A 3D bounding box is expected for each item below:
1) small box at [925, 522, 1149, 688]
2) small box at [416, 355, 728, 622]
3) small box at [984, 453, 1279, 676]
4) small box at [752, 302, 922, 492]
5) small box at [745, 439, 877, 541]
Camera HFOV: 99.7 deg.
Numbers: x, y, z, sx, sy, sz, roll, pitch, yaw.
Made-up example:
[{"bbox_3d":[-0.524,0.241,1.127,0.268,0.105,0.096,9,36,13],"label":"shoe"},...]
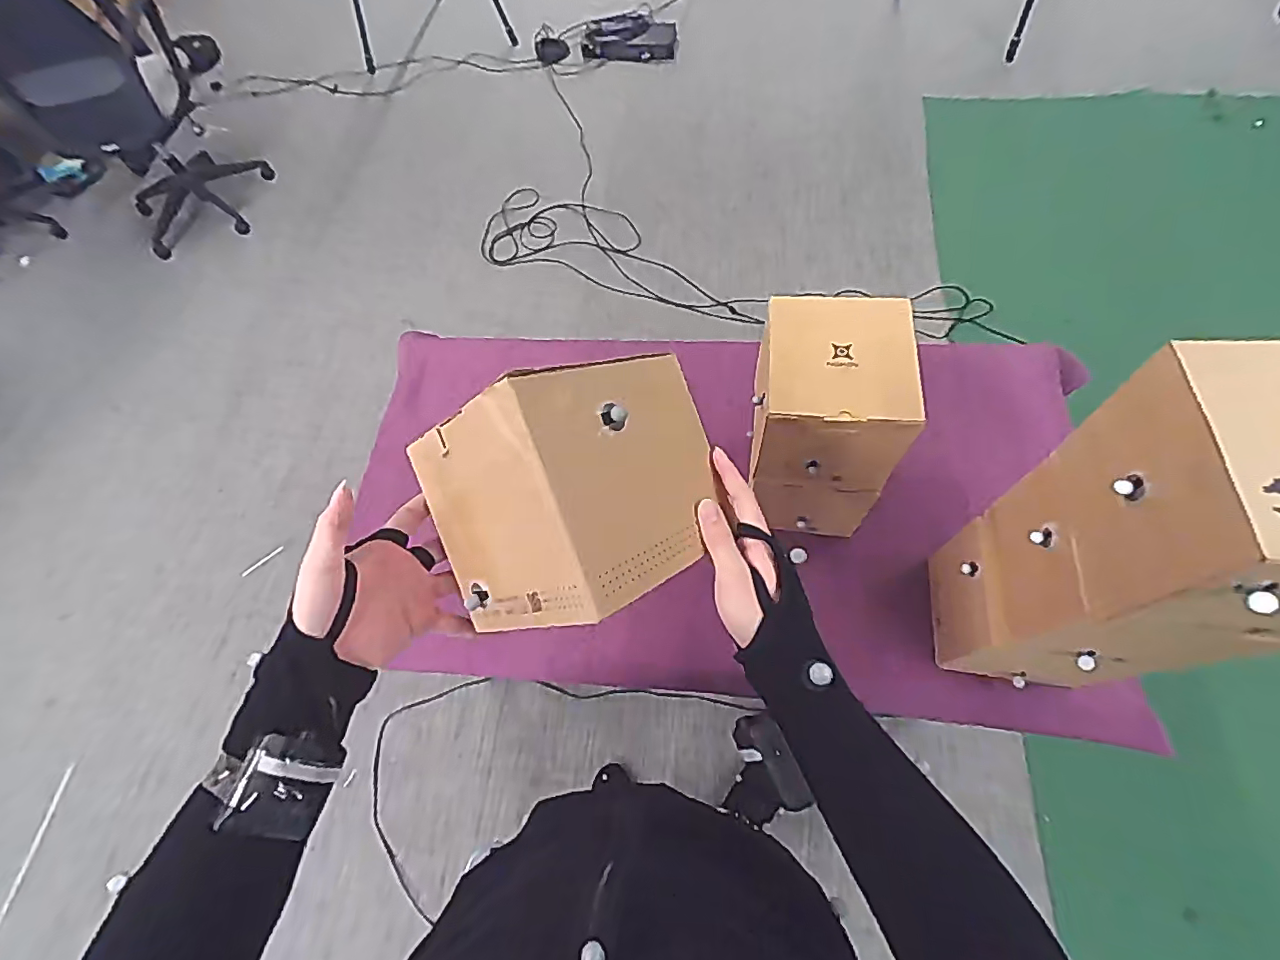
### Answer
[{"bbox_3d":[0.502,0.171,0.714,0.179,0.176,0.168,7,64,10],"label":"small box"},{"bbox_3d":[-0.051,0.012,0.455,0.179,0.168,0.176,-20,91,-47],"label":"small box"},{"bbox_3d":[0.490,0.094,0.569,0.168,0.176,0.179,6,64,10],"label":"small box"},{"bbox_3d":[0.236,-0.101,0.692,0.168,0.176,0.179,4,65,7],"label":"small box"},{"bbox_3d":[0.256,-0.024,0.834,0.168,0.176,0.179,7,65,9],"label":"small box"}]
